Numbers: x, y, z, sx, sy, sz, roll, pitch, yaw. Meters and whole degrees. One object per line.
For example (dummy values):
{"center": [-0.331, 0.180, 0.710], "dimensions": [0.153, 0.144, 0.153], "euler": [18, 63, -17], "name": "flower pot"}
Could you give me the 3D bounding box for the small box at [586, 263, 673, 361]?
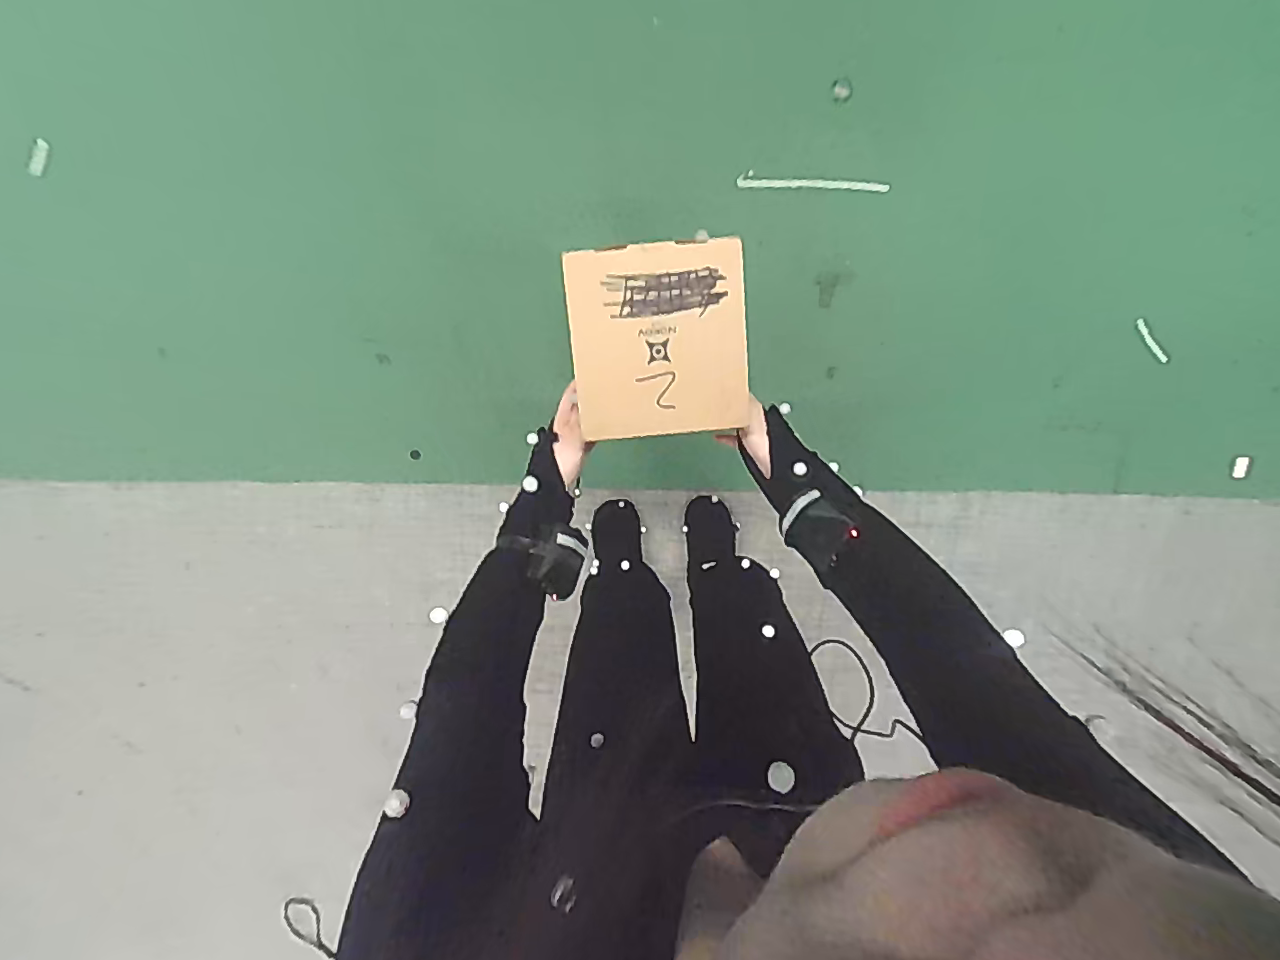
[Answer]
{"center": [-0.017, -0.333, 1.100], "dimensions": [0.168, 0.176, 0.179], "euler": [0, 100, 1], "name": "small box"}
